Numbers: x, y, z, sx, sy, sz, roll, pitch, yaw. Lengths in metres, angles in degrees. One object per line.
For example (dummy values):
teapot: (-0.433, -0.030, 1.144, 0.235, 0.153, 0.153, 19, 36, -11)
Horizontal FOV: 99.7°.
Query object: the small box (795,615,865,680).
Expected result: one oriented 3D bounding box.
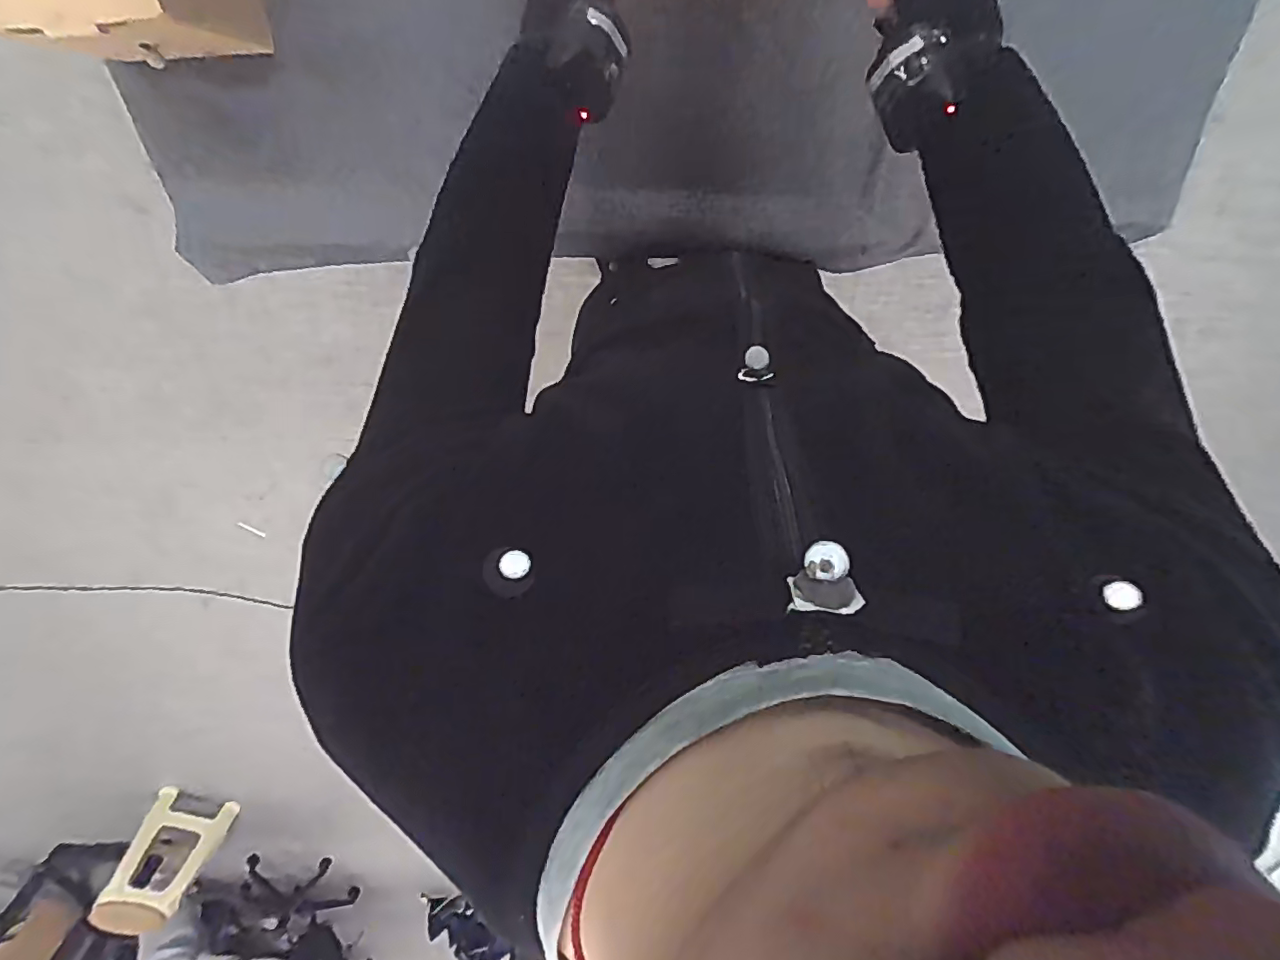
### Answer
small box: (0.727, 0.645, 2.089, 0.179, 0.176, 0.168, 9, 120, -7)
